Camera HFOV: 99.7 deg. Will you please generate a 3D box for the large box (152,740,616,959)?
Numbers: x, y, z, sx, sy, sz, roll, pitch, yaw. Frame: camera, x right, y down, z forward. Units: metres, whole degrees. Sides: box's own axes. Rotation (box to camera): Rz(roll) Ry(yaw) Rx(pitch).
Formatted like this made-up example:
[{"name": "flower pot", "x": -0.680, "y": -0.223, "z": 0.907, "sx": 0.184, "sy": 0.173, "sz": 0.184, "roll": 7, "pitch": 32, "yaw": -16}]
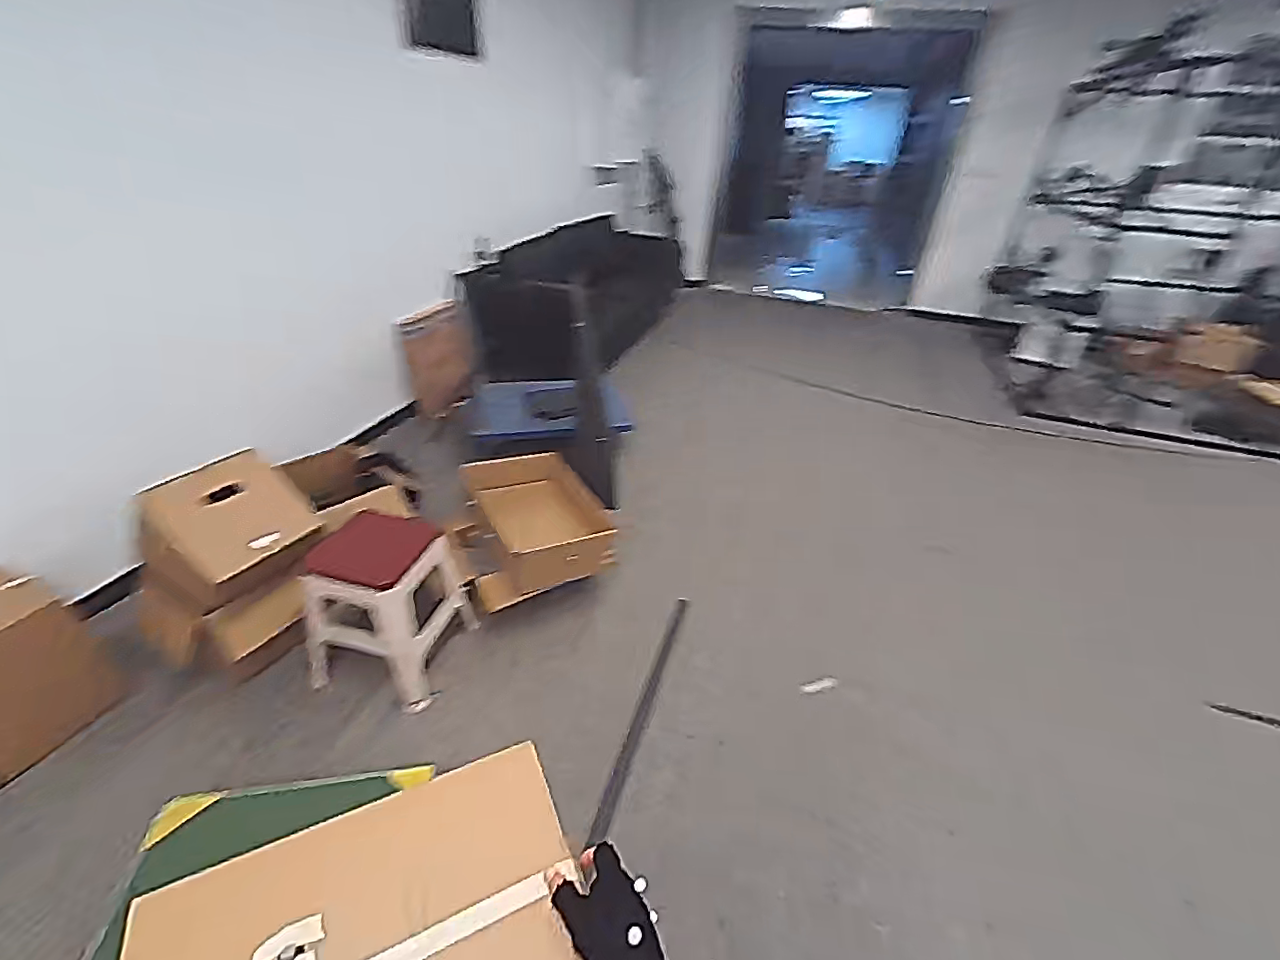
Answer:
[{"name": "large box", "x": -0.252, "y": 0.579, "z": 0.612, "sx": 0.408, "sy": 0.320, "sz": 0.320, "roll": -13, "pitch": 42, "yaw": -22}]
